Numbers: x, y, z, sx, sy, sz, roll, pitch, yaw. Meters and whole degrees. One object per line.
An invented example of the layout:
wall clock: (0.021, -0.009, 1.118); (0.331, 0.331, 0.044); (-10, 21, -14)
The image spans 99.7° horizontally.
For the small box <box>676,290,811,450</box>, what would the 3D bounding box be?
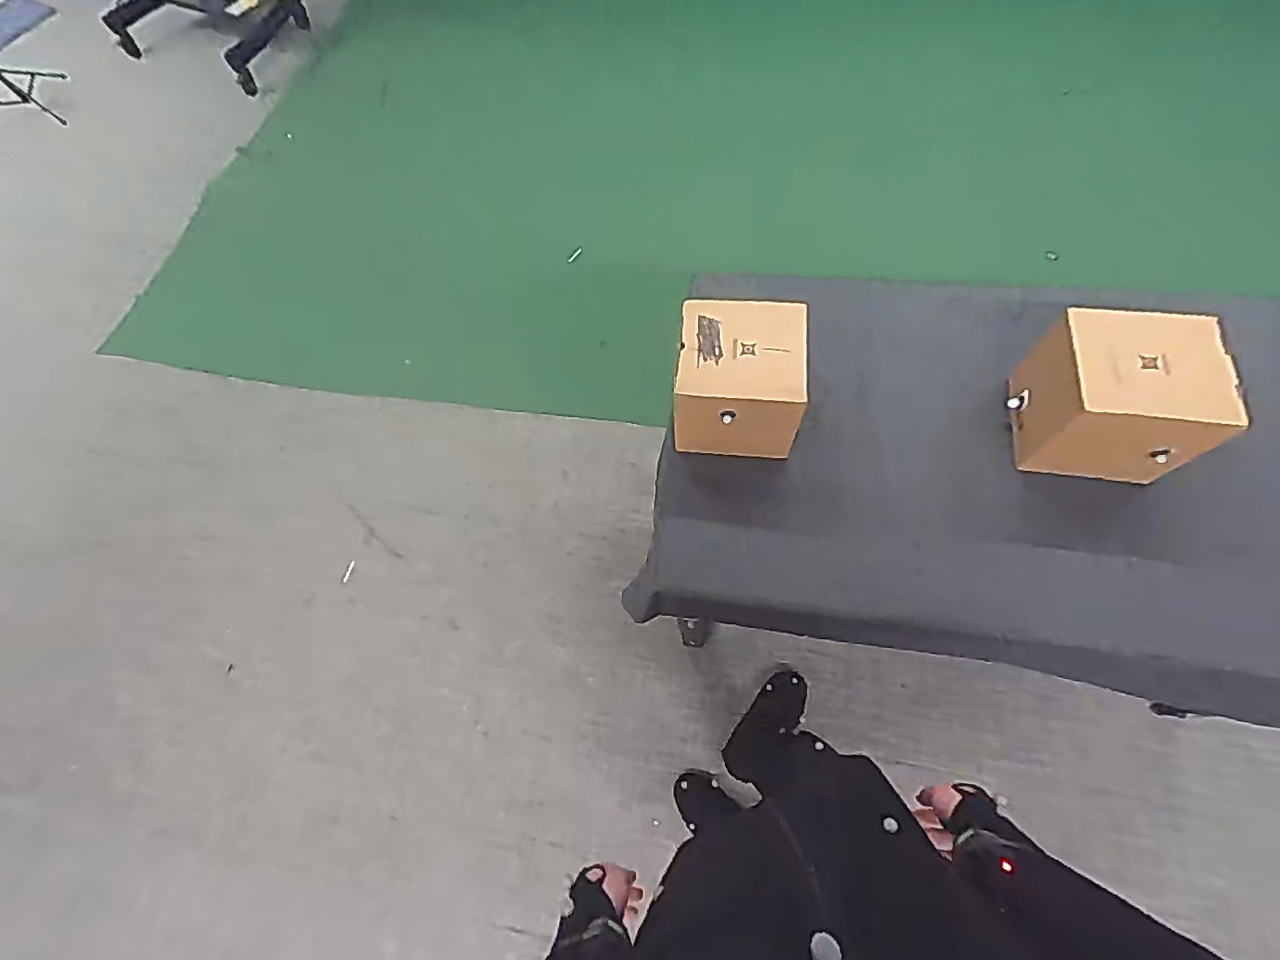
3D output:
small box: (0.147, -0.157, 0.805); (0.179, 0.176, 0.168); (5, 66, 4)

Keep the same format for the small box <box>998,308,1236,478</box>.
small box: (0.647, -0.115, 0.761); (0.179, 0.176, 0.168); (7, 65, 8)
